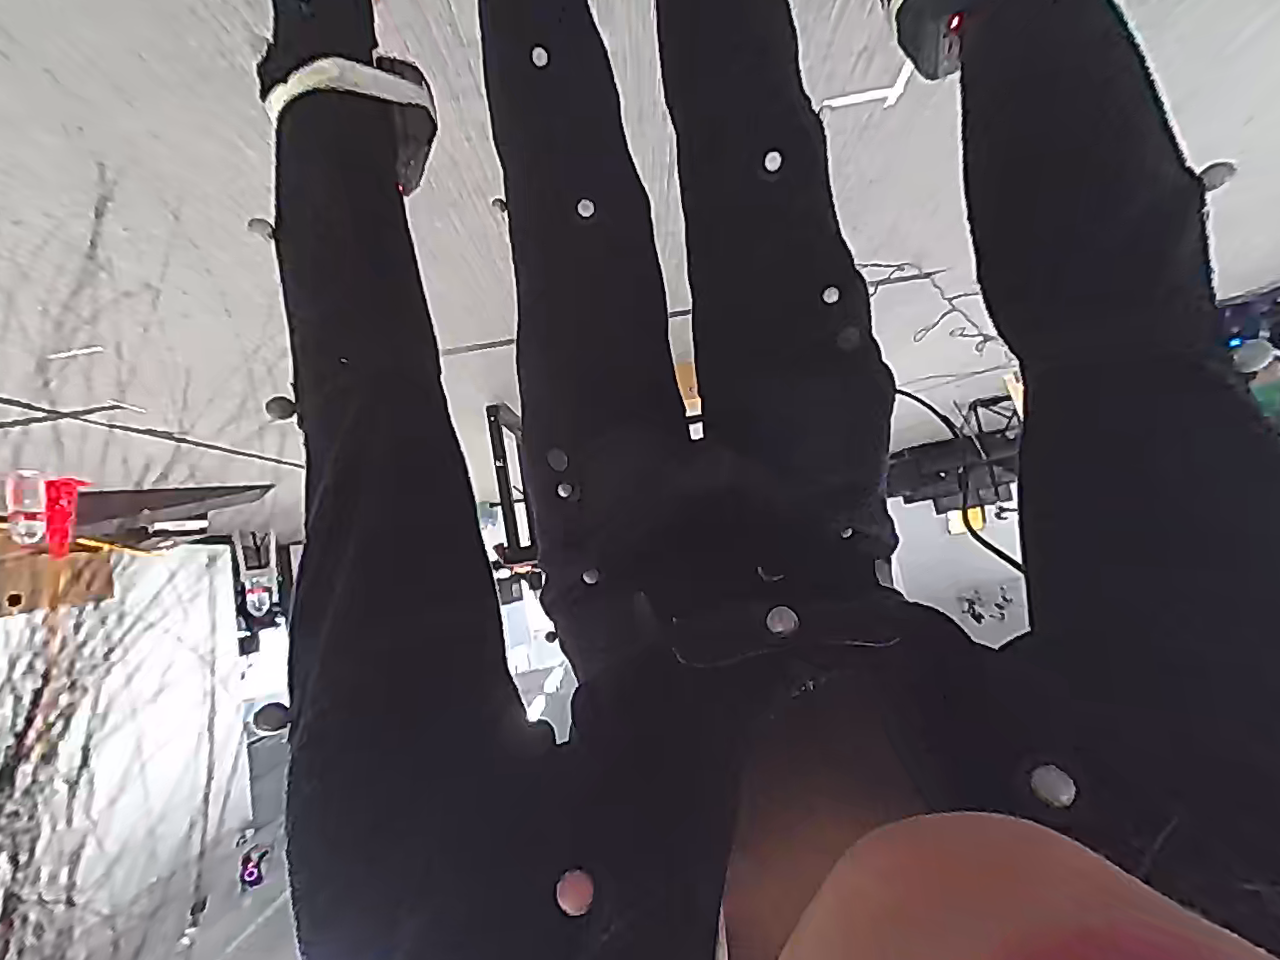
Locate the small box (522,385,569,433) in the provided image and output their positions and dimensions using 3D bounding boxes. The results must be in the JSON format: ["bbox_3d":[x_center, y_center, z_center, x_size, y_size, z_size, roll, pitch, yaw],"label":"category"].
[{"bbox_3d":[-0.437,-0.324,2.468,0.179,0.176,0.168,-9,173,-18],"label":"small box"}]

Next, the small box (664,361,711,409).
[{"bbox_3d":[0.214,-0.438,2.483,0.179,0.176,0.168,-9,172,-3],"label":"small box"}]
